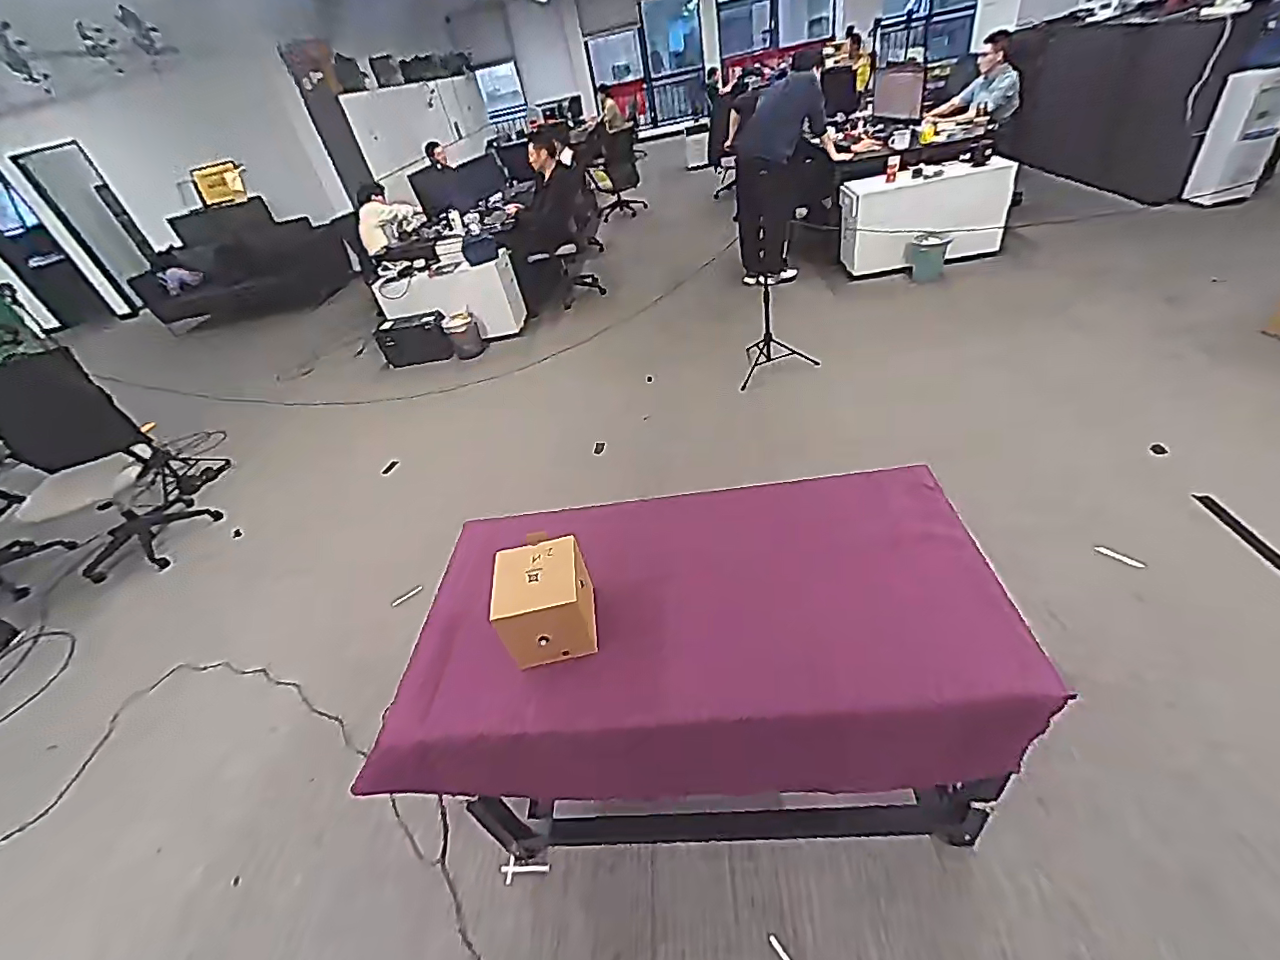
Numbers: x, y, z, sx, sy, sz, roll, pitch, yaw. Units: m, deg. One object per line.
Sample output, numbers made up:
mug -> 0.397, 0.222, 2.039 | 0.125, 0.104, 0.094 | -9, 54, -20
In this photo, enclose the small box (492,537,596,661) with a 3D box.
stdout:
small box -> -0.187, 0.247, 1.097 | 0.168, 0.176, 0.179 | -11, 38, 1
